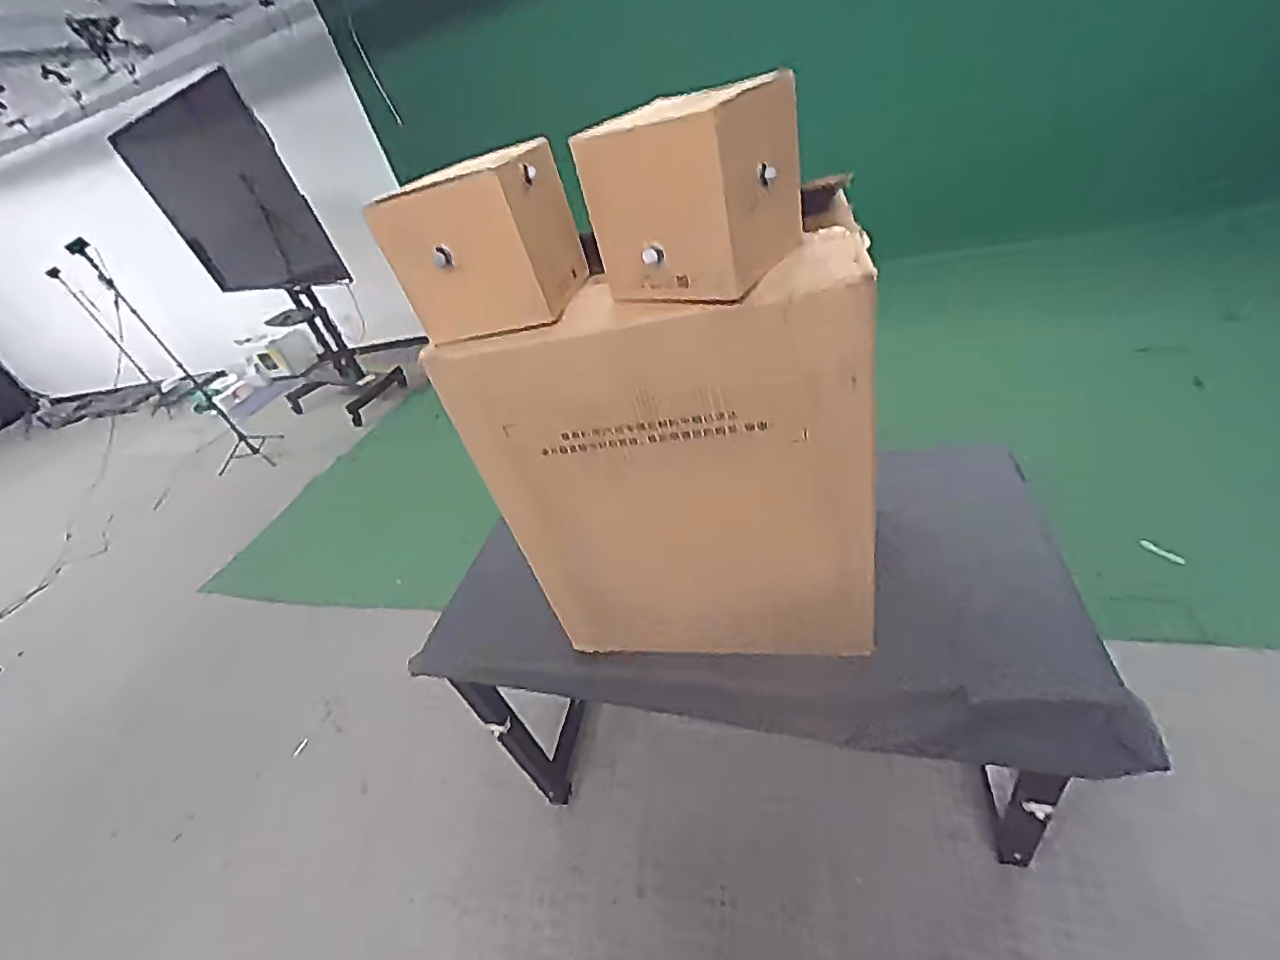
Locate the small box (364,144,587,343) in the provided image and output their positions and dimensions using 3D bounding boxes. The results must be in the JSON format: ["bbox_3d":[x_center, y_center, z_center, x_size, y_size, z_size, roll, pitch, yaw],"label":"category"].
[{"bbox_3d":[-0.189,-0.289,0.677,0.179,0.176,0.168,-6,39,19],"label":"small box"}]

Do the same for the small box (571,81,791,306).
[{"bbox_3d":[0.057,-0.309,0.597,0.168,0.176,0.179,13,47,35],"label":"small box"}]
